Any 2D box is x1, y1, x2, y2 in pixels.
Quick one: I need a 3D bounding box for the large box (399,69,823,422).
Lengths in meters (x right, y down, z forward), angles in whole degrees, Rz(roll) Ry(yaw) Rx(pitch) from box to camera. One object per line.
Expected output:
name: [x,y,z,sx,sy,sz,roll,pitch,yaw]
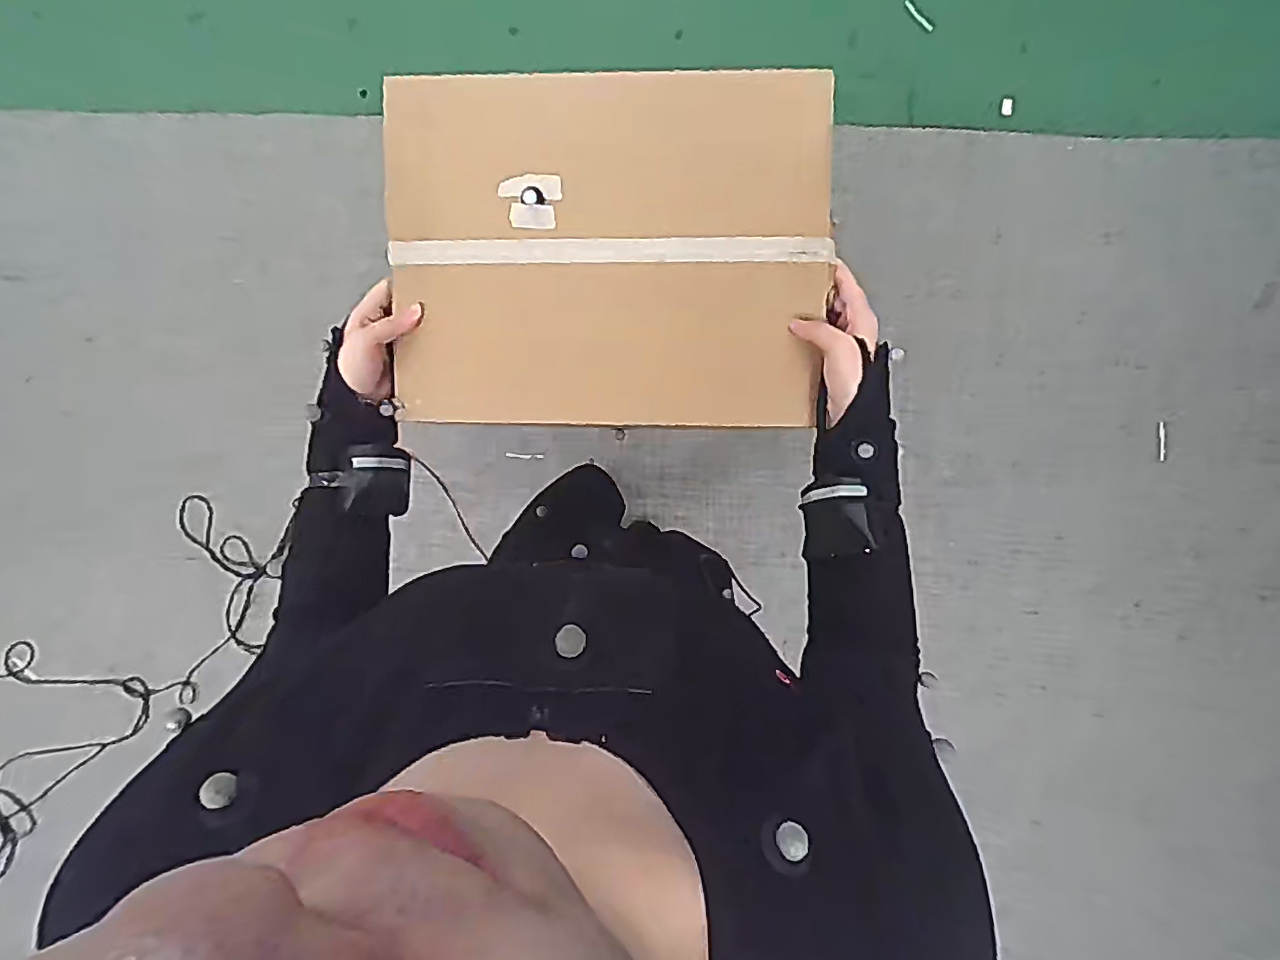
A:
large box: [-0.018,-0.230,0.660,0.408,0.320,0.320,1,95,5]
